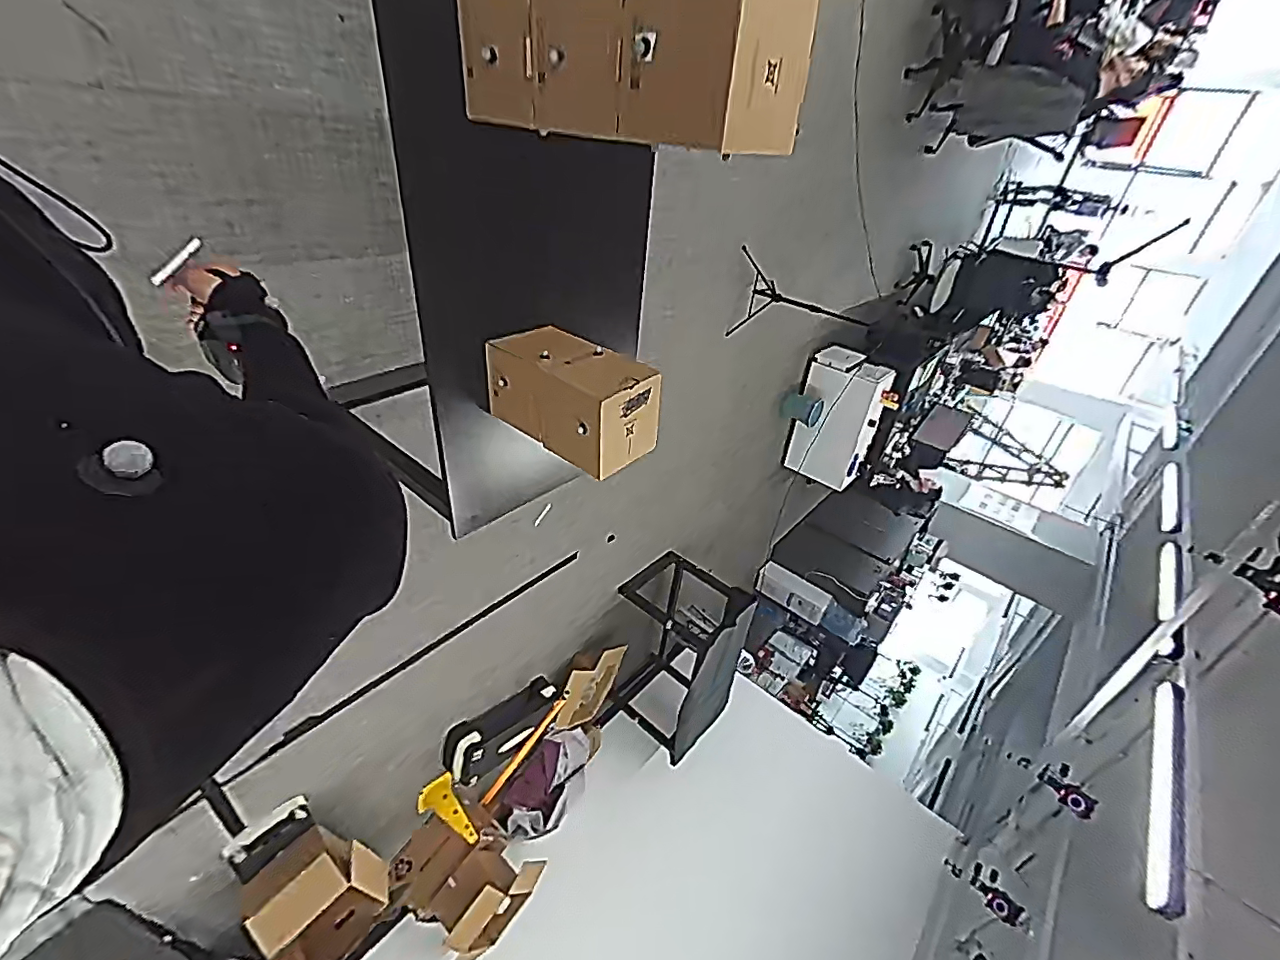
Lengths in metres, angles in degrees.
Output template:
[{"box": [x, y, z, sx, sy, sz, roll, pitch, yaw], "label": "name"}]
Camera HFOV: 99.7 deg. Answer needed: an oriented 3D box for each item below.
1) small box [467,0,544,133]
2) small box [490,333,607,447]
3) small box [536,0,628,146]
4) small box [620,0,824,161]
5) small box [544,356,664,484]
[{"box": [-0.150, -0.639, 0.839, 0.179, 0.176, 0.168, -31, 139, -40], "label": "small box"}, {"box": [-0.192, -0.199, 1.143, 0.179, 0.176, 0.168, -30, 138, -41], "label": "small box"}, {"box": [-0.025, -0.571, 0.757, 0.179, 0.176, 0.168, -31, 138, -40], "label": "small box"}, {"box": [0.097, -0.502, 0.674, 0.179, 0.176, 0.168, -31, 137, -40], "label": "small box"}, {"box": [-0.072, -0.127, 1.055, 0.168, 0.176, 0.179, -33, 140, -38], "label": "small box"}]
